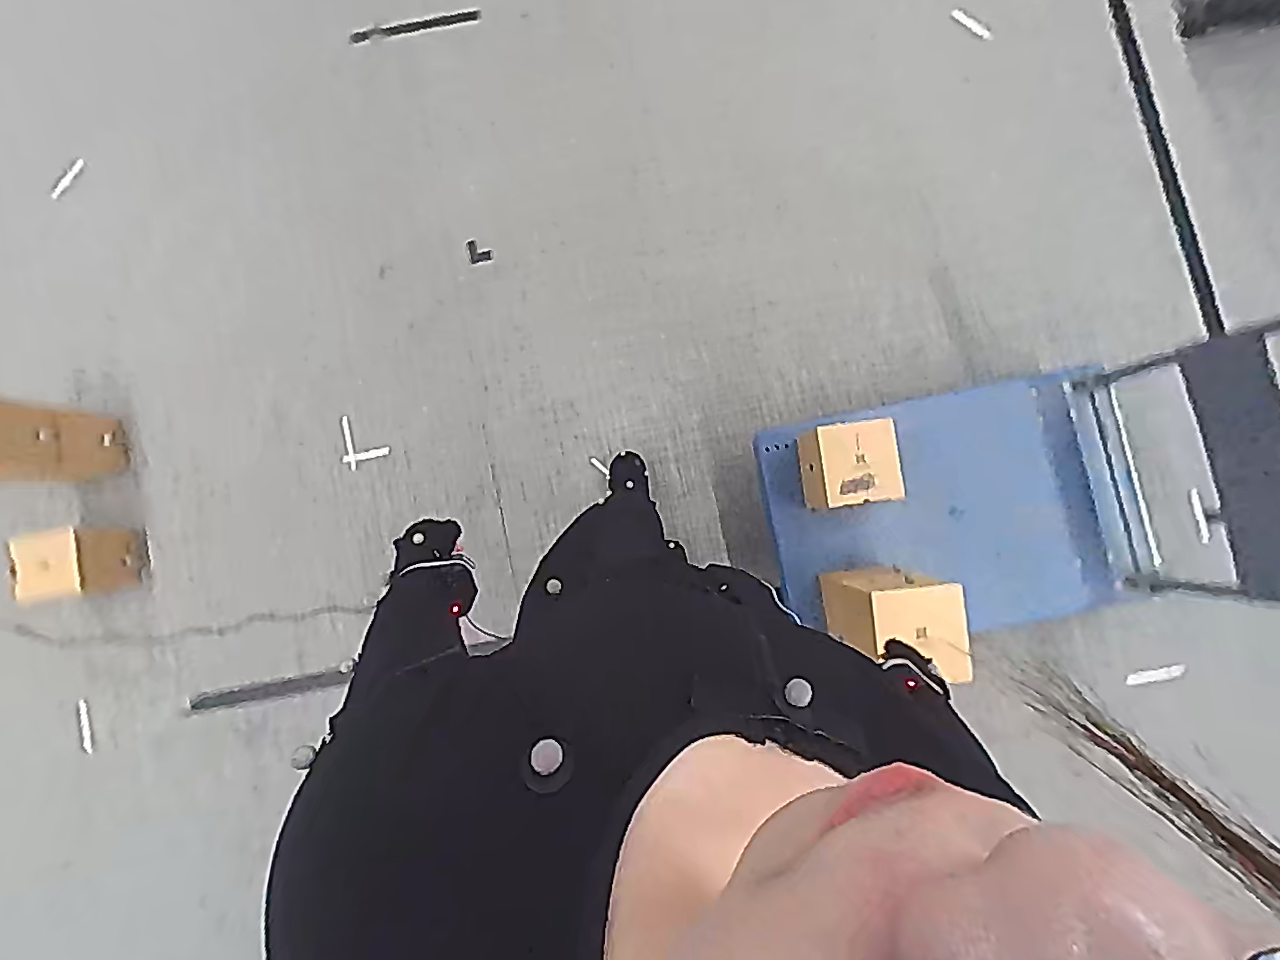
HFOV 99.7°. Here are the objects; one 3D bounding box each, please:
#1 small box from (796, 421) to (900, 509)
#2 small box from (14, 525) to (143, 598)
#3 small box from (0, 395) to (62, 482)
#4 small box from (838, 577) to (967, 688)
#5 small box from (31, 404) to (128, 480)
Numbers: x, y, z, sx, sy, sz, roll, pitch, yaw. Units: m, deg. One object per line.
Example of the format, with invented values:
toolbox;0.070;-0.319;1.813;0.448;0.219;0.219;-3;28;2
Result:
small box;0.467;-0.028;1.237;0.168;0.176;0.179;-7;86;1
small box;-1.515;0.216;1.466;0.179;0.176;0.168;-9;87;0
small box;-1.585;-0.102;1.321;0.168;0.176;0.179;-13;85;1
small box;0.501;0.287;1.057;0.168;0.176;0.179;-5;88;1
small box;-1.579;-0.098;1.486;0.179;0.176;0.168;-13;86;1
